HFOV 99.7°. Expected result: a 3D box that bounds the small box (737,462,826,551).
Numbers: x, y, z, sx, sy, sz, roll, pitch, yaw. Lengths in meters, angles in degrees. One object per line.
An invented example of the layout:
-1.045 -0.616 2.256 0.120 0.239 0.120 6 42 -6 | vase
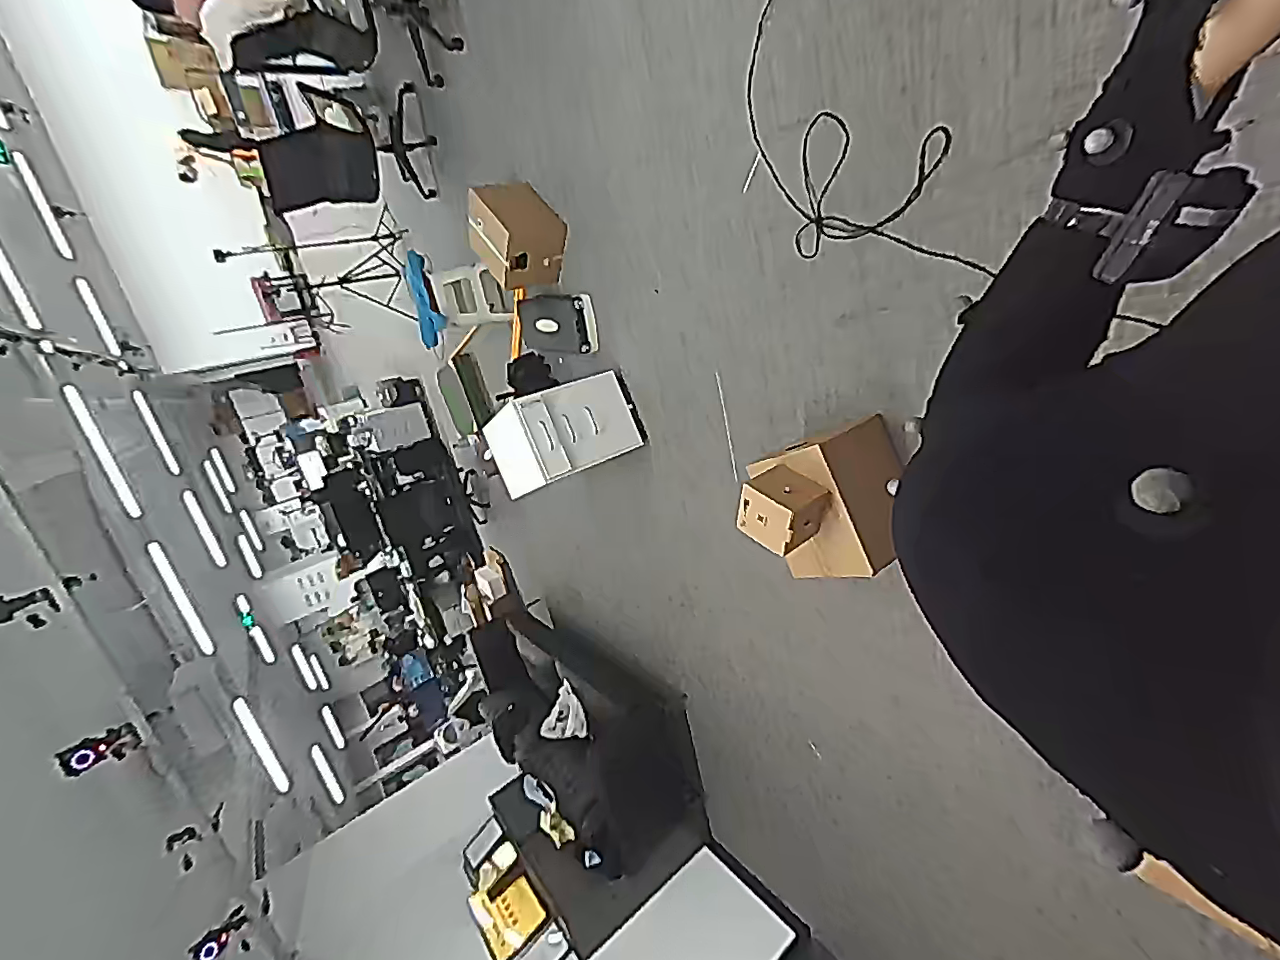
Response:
0.409 0.069 1.567 0.179 0.176 0.168 34 136 37 | small box
